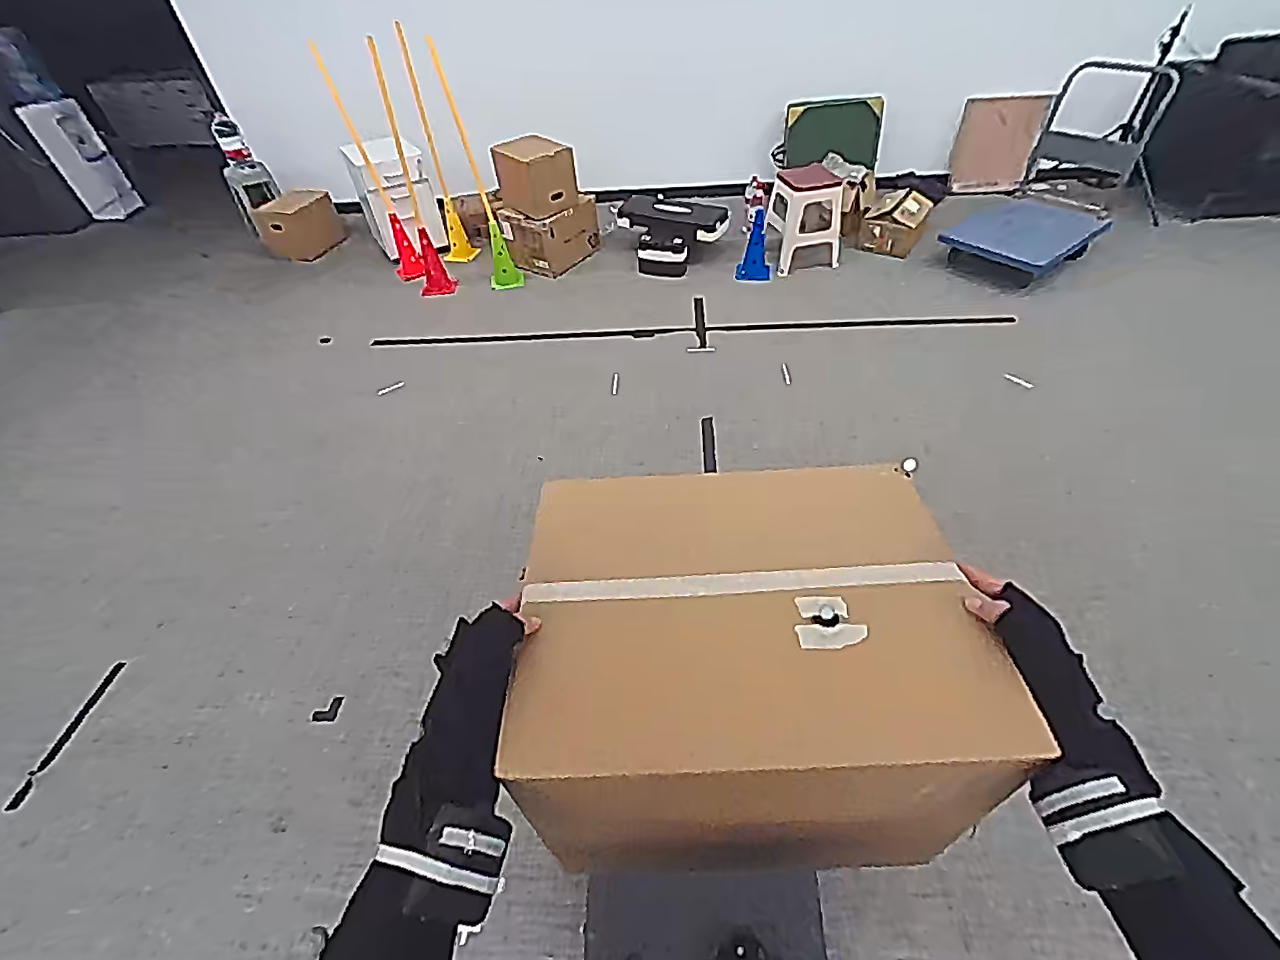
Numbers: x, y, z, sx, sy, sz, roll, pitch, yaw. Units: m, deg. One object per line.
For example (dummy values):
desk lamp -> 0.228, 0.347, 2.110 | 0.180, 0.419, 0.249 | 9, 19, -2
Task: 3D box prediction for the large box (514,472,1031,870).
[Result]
large box -> 0.102, 0.215, 0.617 | 0.408, 0.320, 0.320 | -3, 43, 1
